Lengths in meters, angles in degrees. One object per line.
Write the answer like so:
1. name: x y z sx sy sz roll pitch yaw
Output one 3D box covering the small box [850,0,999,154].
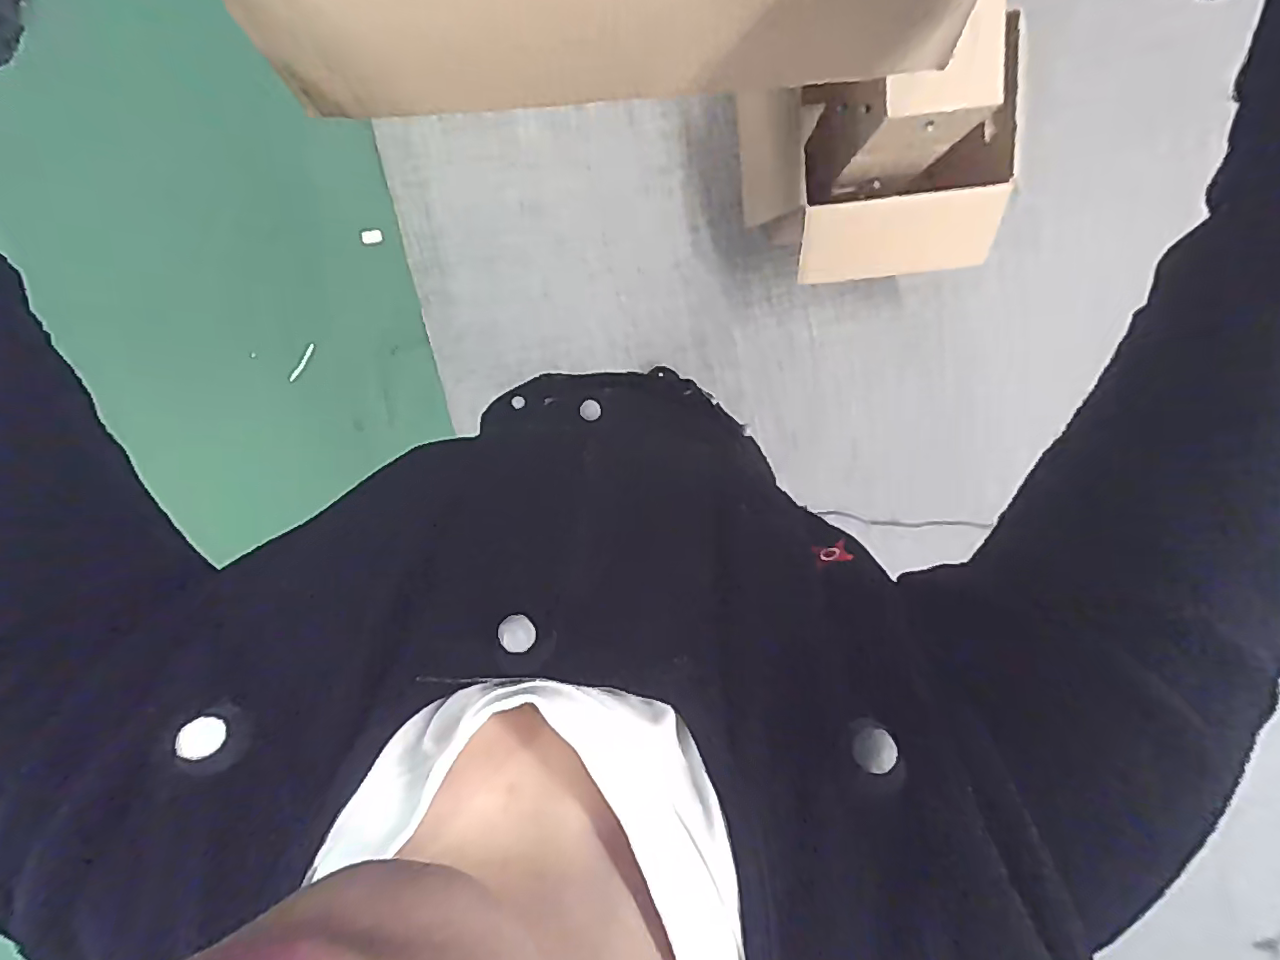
1. small box: 0.460 -0.669 0.899 0.179 0.176 0.168 -7 102 4
